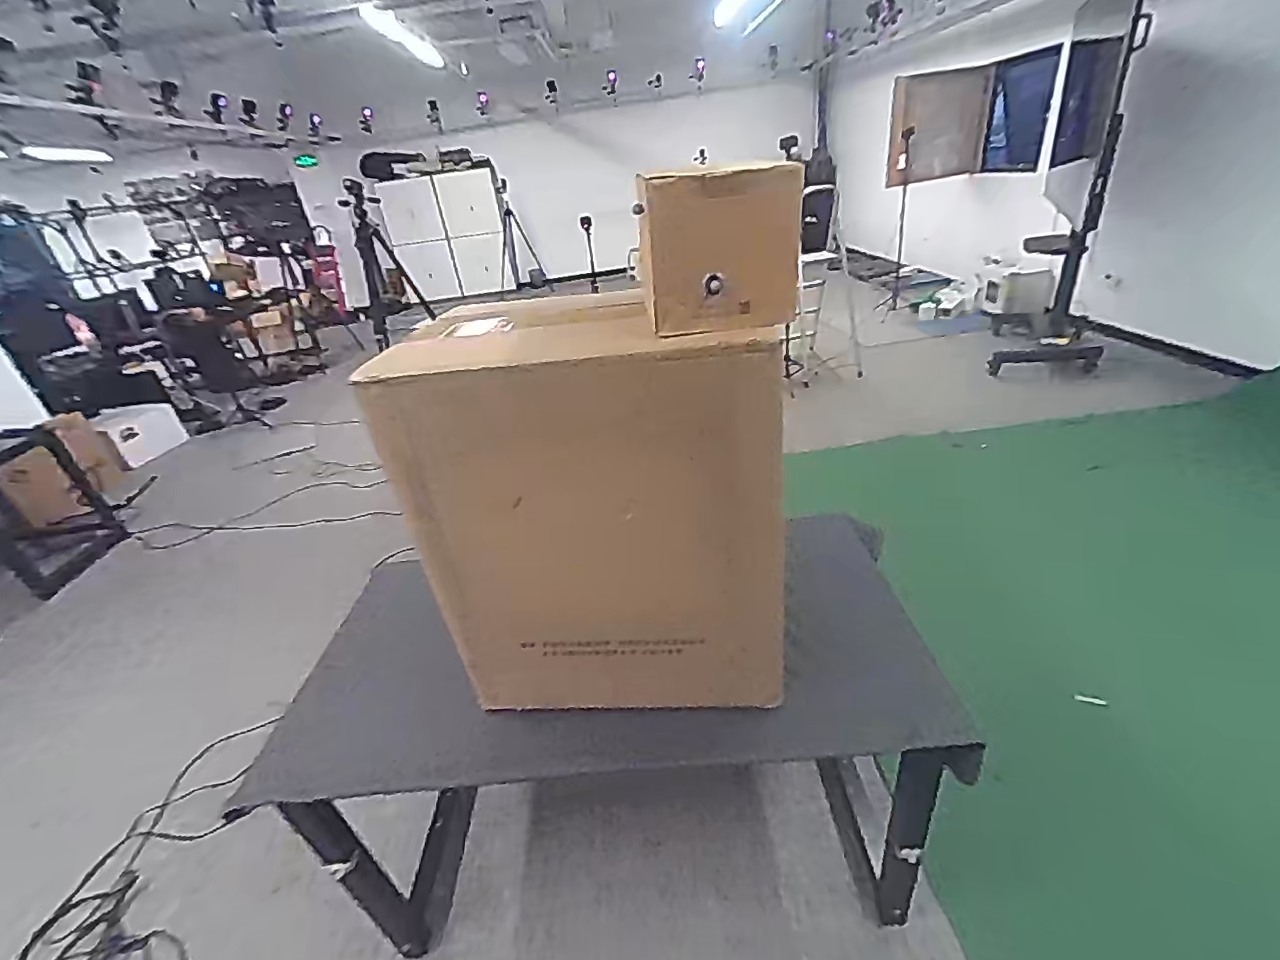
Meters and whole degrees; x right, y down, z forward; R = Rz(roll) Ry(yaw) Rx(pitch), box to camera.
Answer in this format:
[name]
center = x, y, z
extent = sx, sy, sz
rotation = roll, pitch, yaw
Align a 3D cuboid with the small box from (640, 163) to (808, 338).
[small box]
center = 0.090, -0.282, 0.659
extent = 0.168, 0.176, 0.179
rotation = -6, 33, -1
